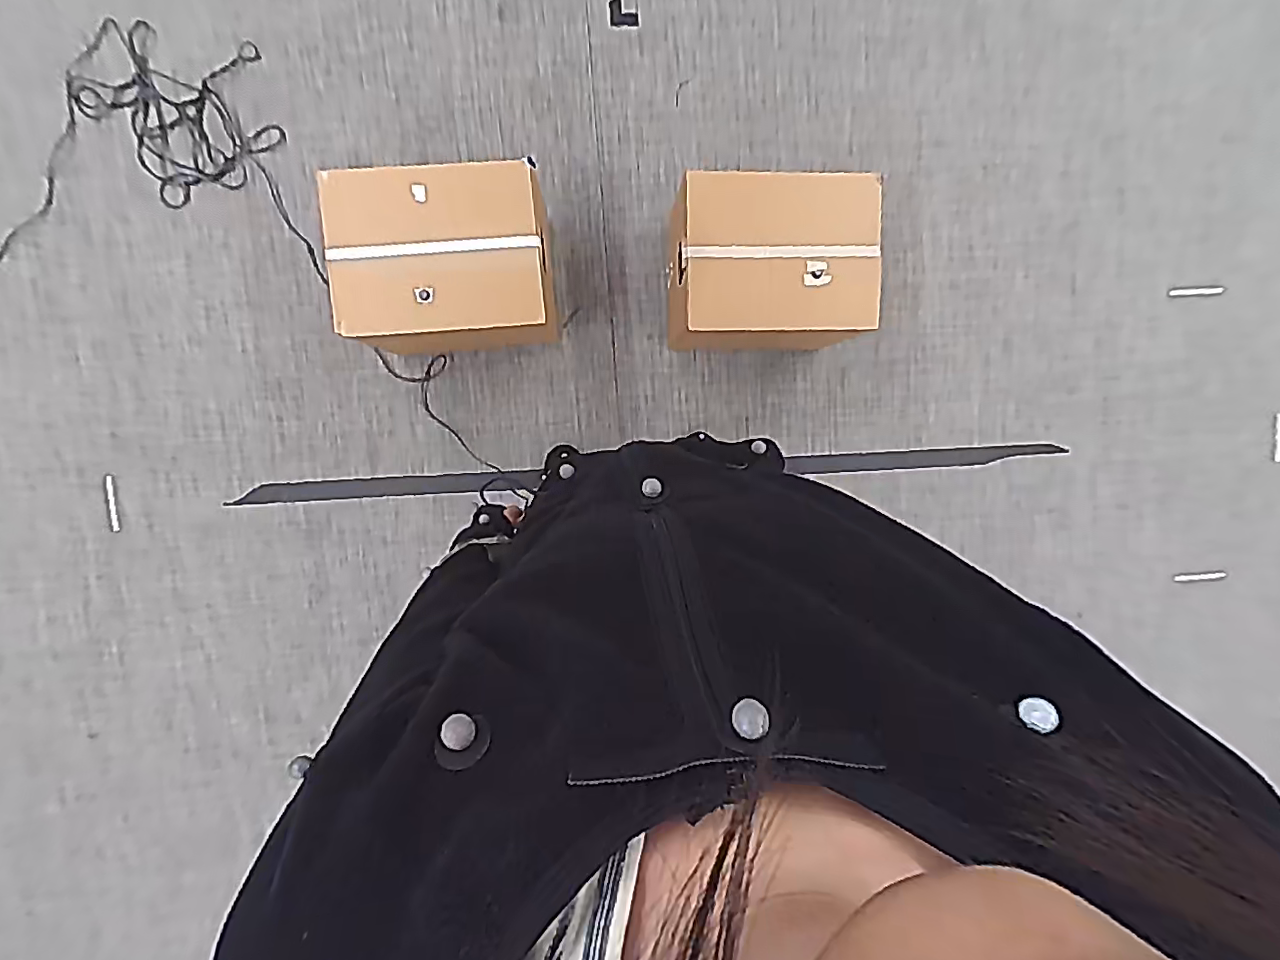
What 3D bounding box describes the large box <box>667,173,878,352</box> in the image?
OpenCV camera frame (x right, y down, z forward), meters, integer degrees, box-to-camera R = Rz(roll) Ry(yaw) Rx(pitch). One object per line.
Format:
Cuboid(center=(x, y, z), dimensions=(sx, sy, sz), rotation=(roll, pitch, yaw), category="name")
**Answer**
Cuboid(center=(0.282, -0.480, 1.257), dimensions=(0.408, 0.320, 0.320), rotation=(-1, 96, -5), category="large box")
